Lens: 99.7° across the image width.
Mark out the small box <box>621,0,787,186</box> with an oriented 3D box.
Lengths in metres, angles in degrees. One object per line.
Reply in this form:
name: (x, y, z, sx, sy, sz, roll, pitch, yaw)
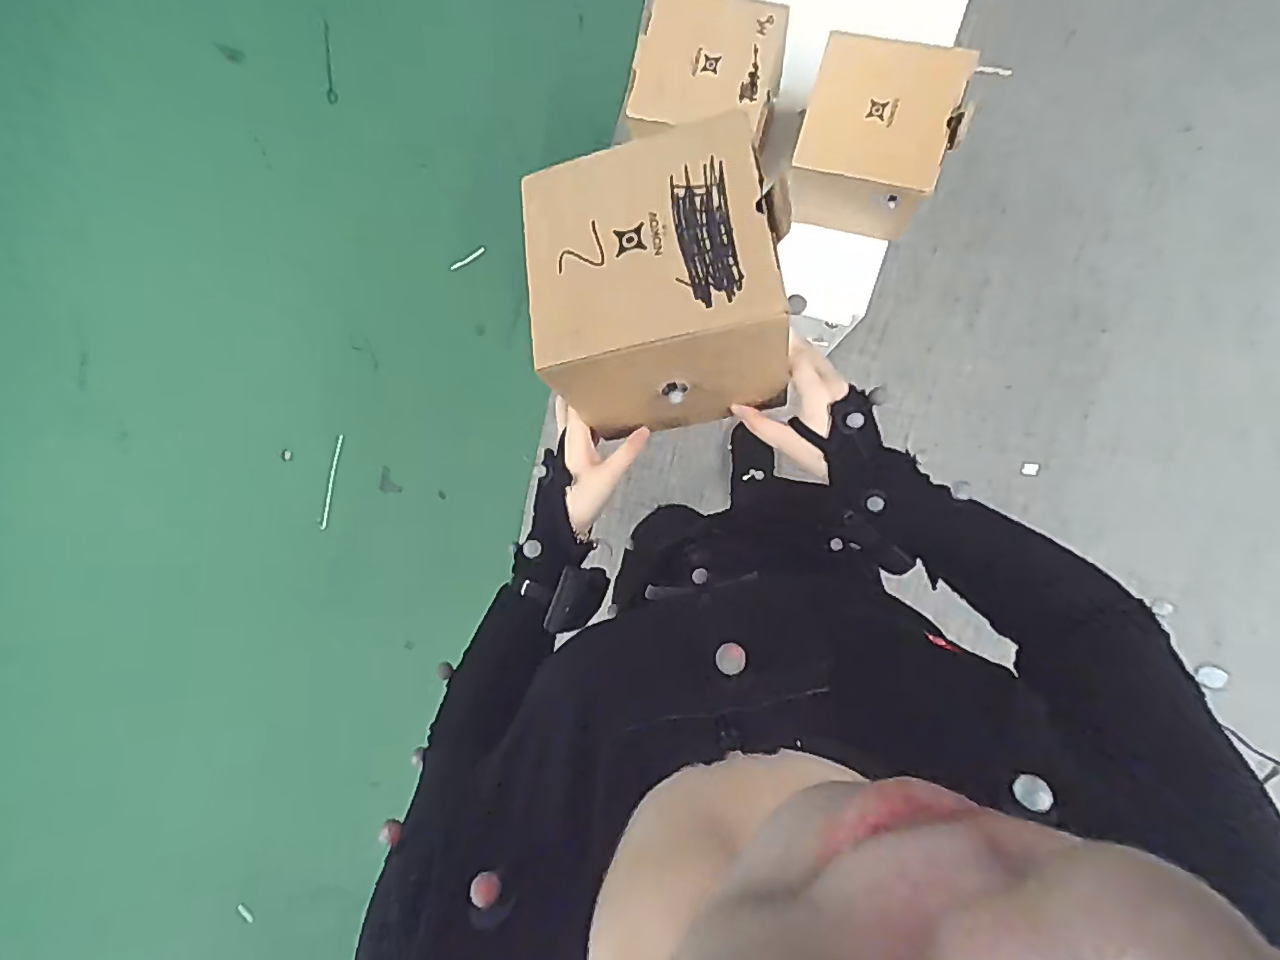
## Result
small box: (0.093, -0.542, 0.759, 0.179, 0.176, 0.168, 16, 98, 9)
